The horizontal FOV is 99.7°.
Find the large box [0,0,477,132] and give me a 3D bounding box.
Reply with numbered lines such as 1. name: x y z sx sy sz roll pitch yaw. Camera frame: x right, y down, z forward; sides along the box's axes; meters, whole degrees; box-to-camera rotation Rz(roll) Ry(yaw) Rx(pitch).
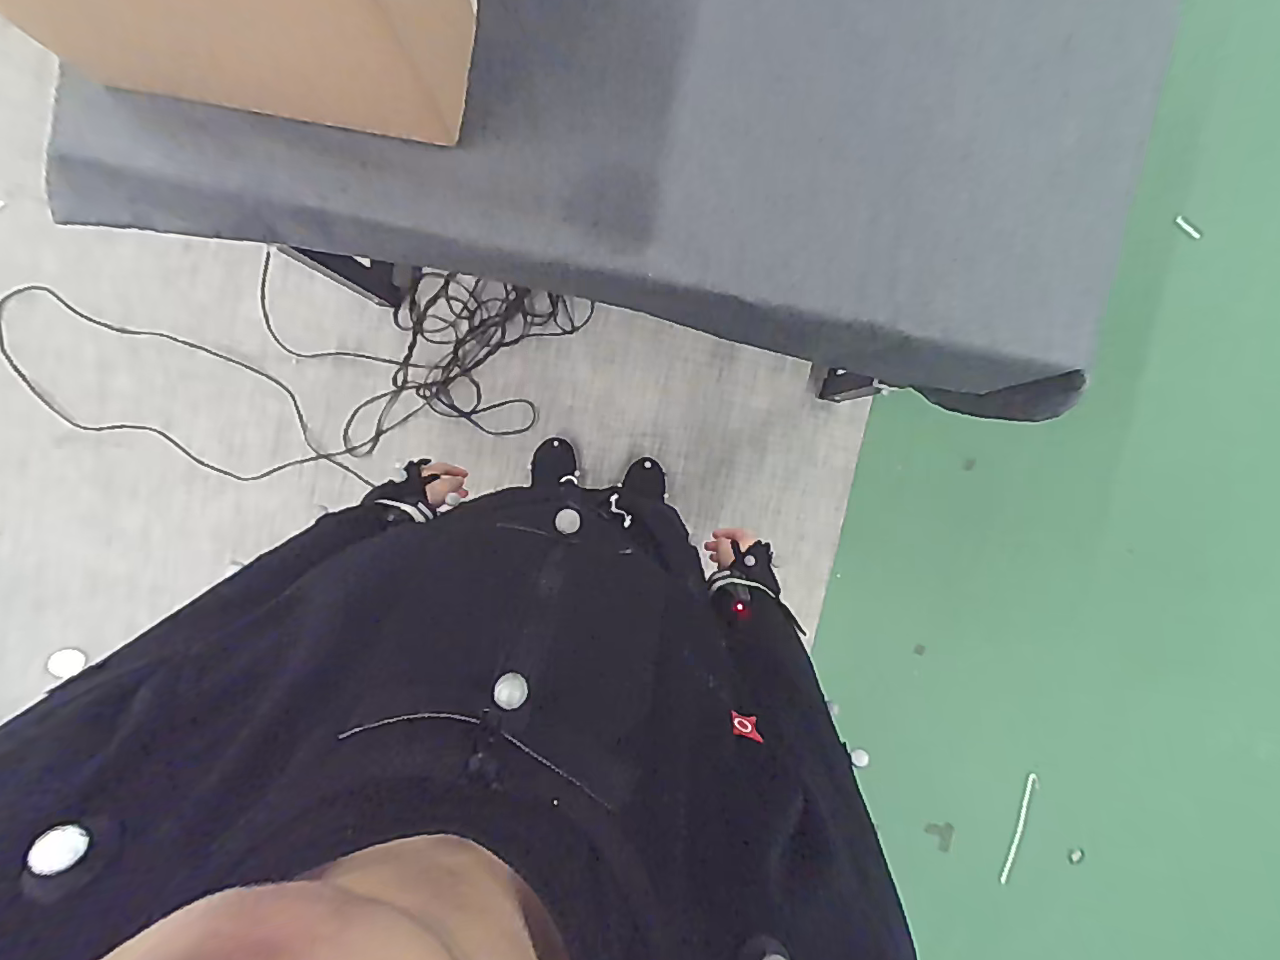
1. large box: -0.368 -0.552 0.440 0.408 0.320 0.320 8 94 -4
